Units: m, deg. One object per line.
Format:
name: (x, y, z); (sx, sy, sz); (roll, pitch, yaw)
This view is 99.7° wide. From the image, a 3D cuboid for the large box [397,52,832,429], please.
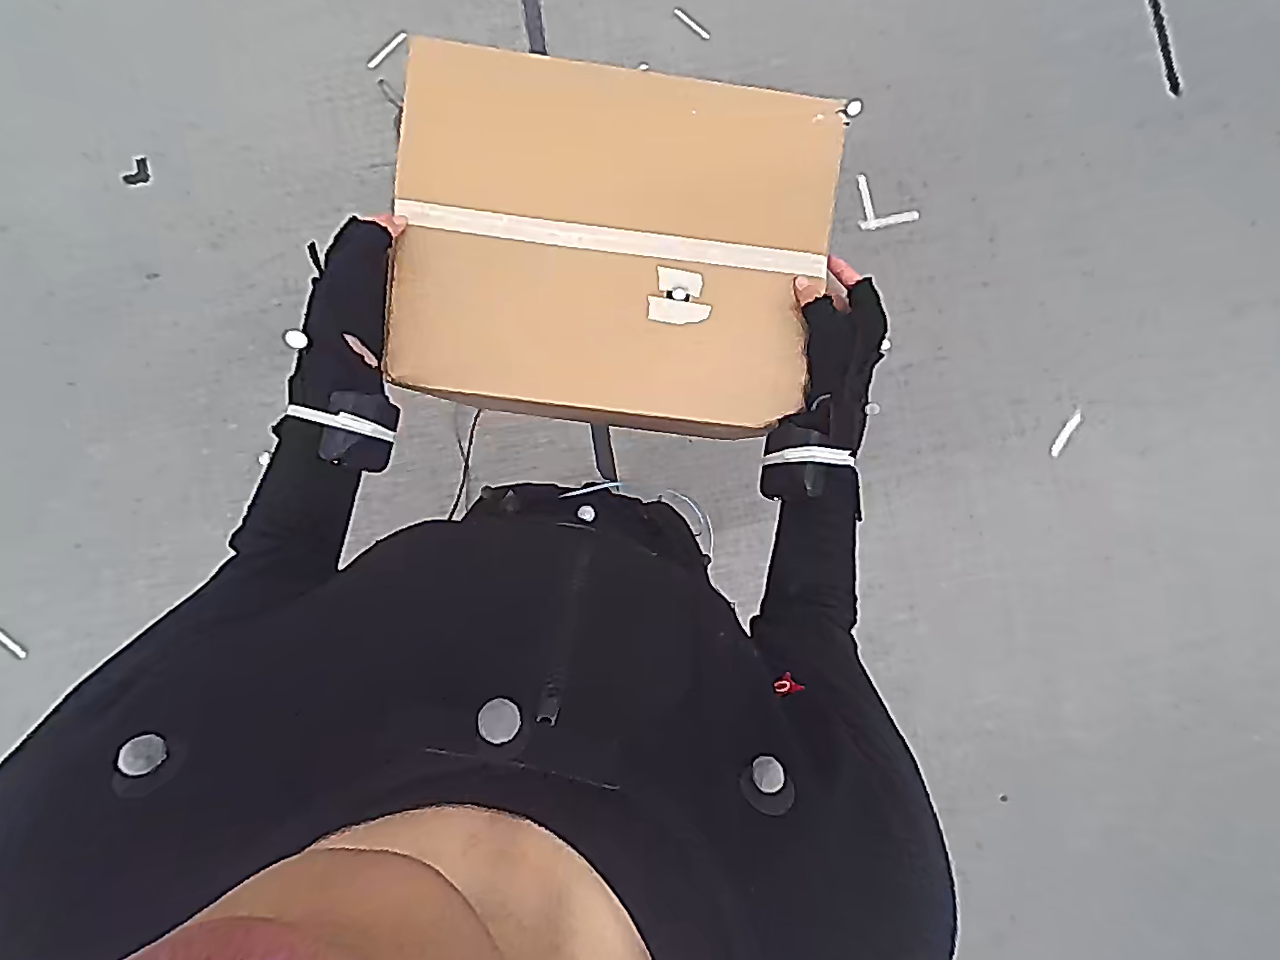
large box: (-0.032, -0.240, 0.670); (0.408, 0.320, 0.320); (6, 94, -3)
